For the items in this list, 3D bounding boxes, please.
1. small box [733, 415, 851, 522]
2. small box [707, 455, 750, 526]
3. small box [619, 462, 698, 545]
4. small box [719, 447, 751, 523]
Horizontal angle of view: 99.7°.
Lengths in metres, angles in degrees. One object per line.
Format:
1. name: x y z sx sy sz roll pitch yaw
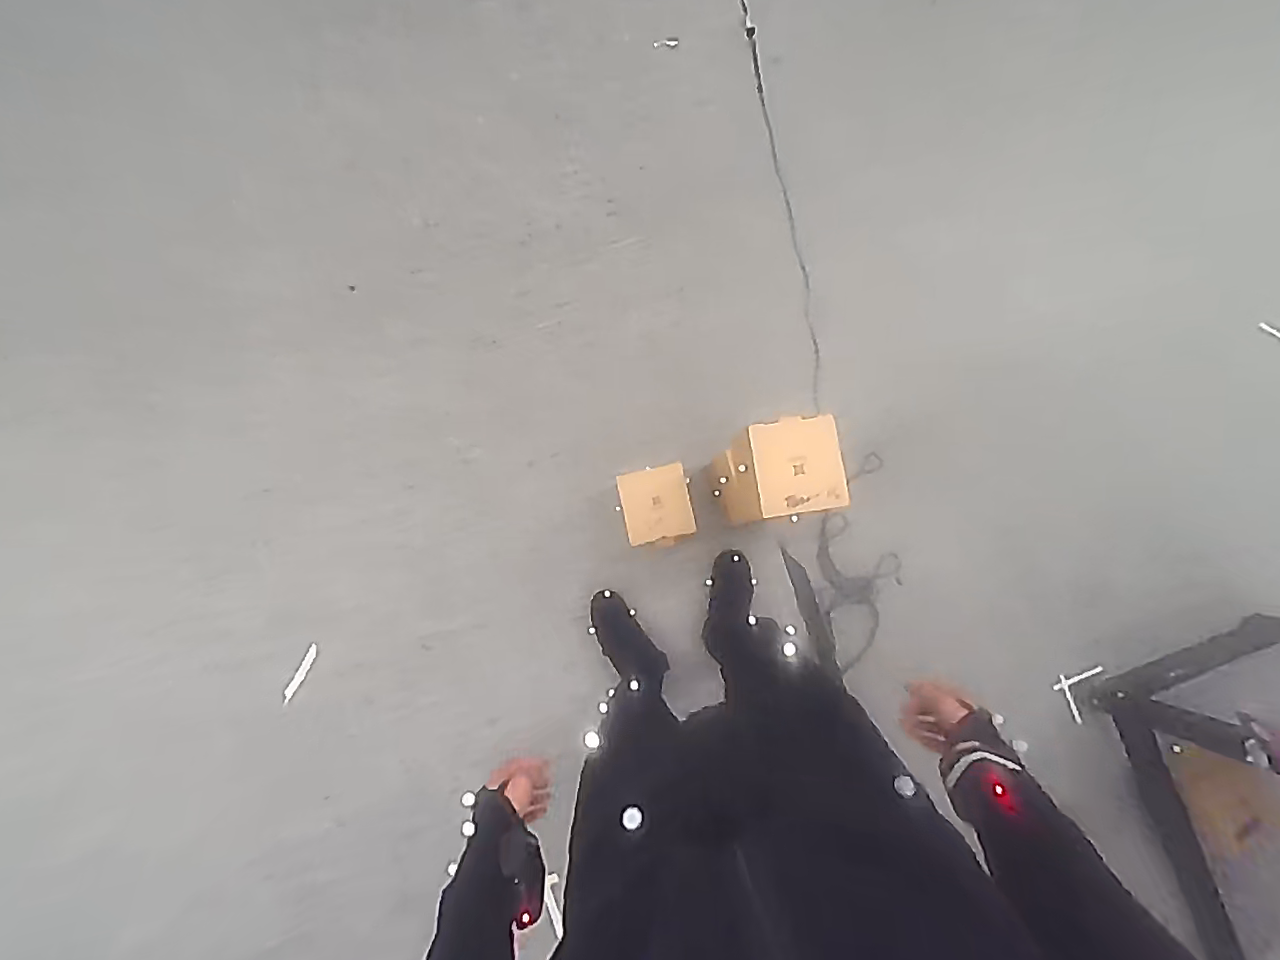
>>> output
1. small box: 0.290 -0.017 1.072 0.168 0.176 0.179 -8 83 -3
2. small box: 0.281 0.014 1.397 0.168 0.176 0.179 -17 85 -3
3. small box: 0.040 0.065 1.381 0.168 0.176 0.179 -12 85 -3
4. small box: 0.287 -0.002 1.236 0.179 0.176 0.168 -16 85 -3
